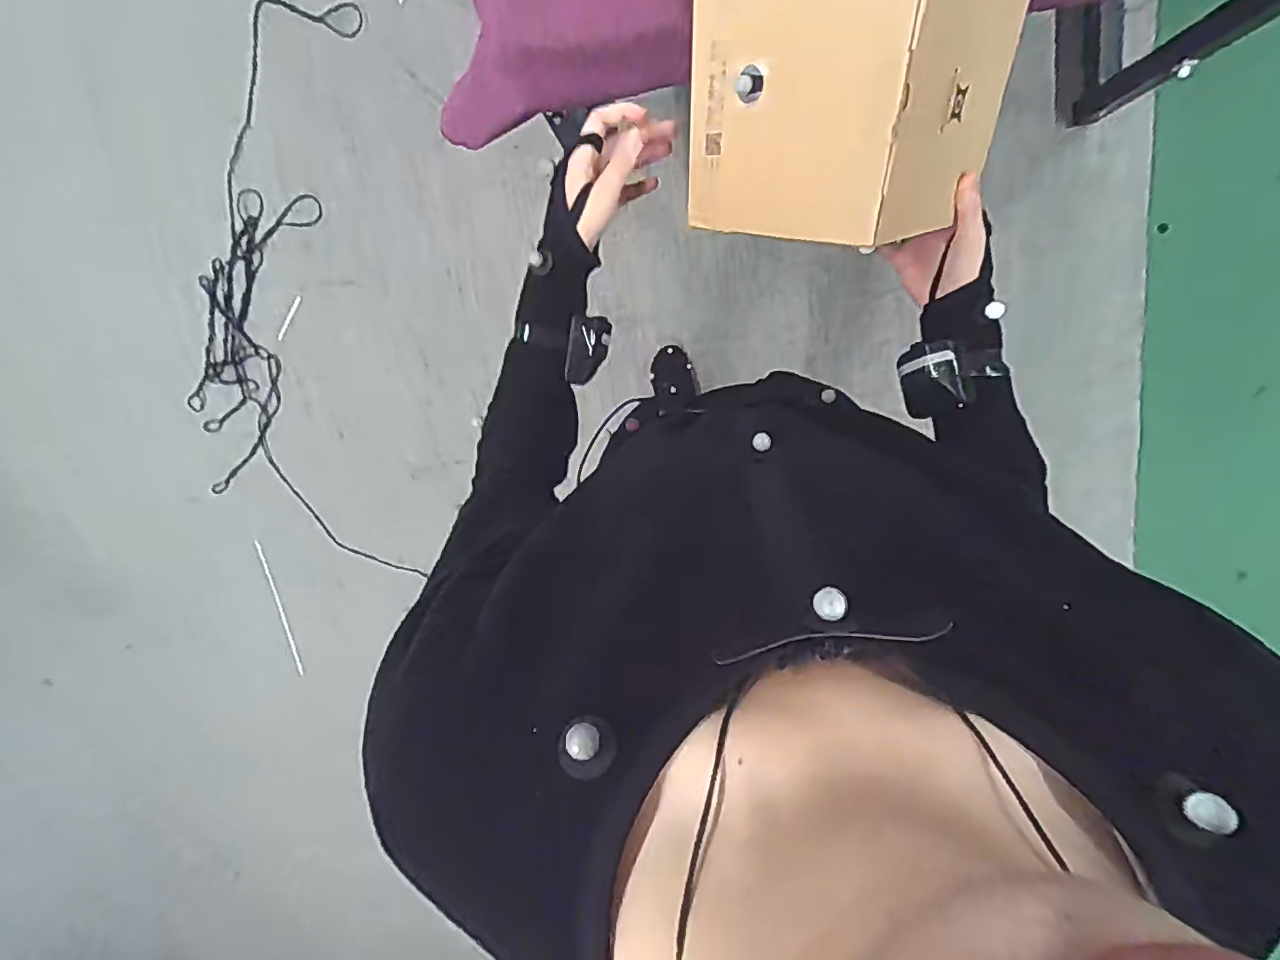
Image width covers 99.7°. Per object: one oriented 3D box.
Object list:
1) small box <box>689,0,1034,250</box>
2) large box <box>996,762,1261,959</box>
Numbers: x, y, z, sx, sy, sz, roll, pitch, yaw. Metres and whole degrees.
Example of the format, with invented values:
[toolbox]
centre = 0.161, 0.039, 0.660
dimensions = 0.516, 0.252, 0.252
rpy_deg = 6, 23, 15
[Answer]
[small box]
centre = 0.160, -0.283, 0.417
dimensions = 0.176, 0.179, 0.168
rpy_deg = 29, 132, 38
[large box]
centre = 1.294, 1.051, 1.475
dimensions = 0.408, 0.320, 0.320
rpy_deg = -21, 100, 8
